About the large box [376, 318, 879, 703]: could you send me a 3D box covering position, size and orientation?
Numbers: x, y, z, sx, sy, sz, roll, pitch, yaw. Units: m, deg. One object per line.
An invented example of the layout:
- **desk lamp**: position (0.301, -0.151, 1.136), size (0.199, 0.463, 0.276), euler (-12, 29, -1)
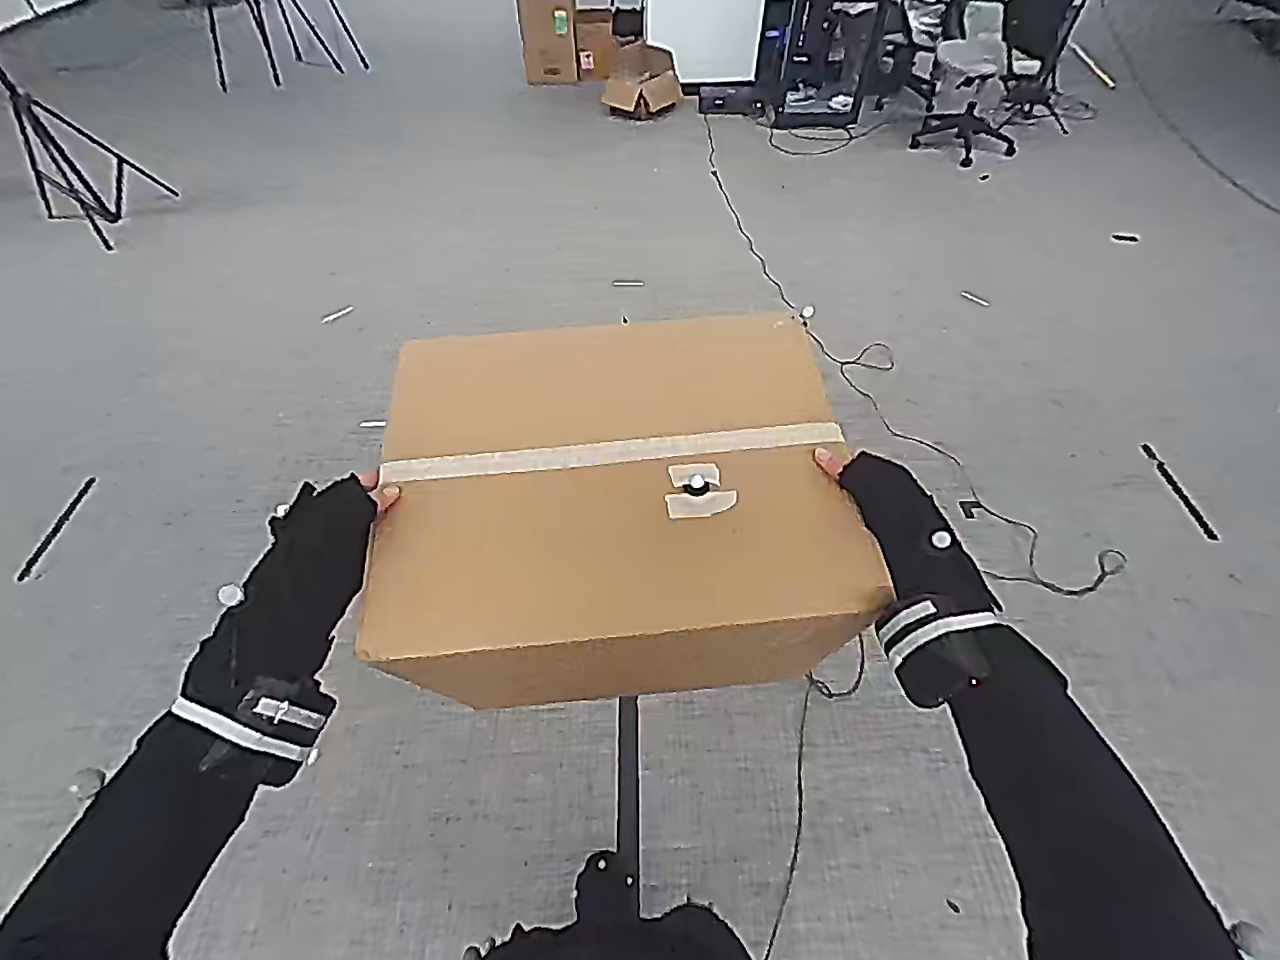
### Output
- **large box**: position (-0.021, 0.052, 0.619), size (0.408, 0.320, 0.320), euler (-5, 61, -2)
